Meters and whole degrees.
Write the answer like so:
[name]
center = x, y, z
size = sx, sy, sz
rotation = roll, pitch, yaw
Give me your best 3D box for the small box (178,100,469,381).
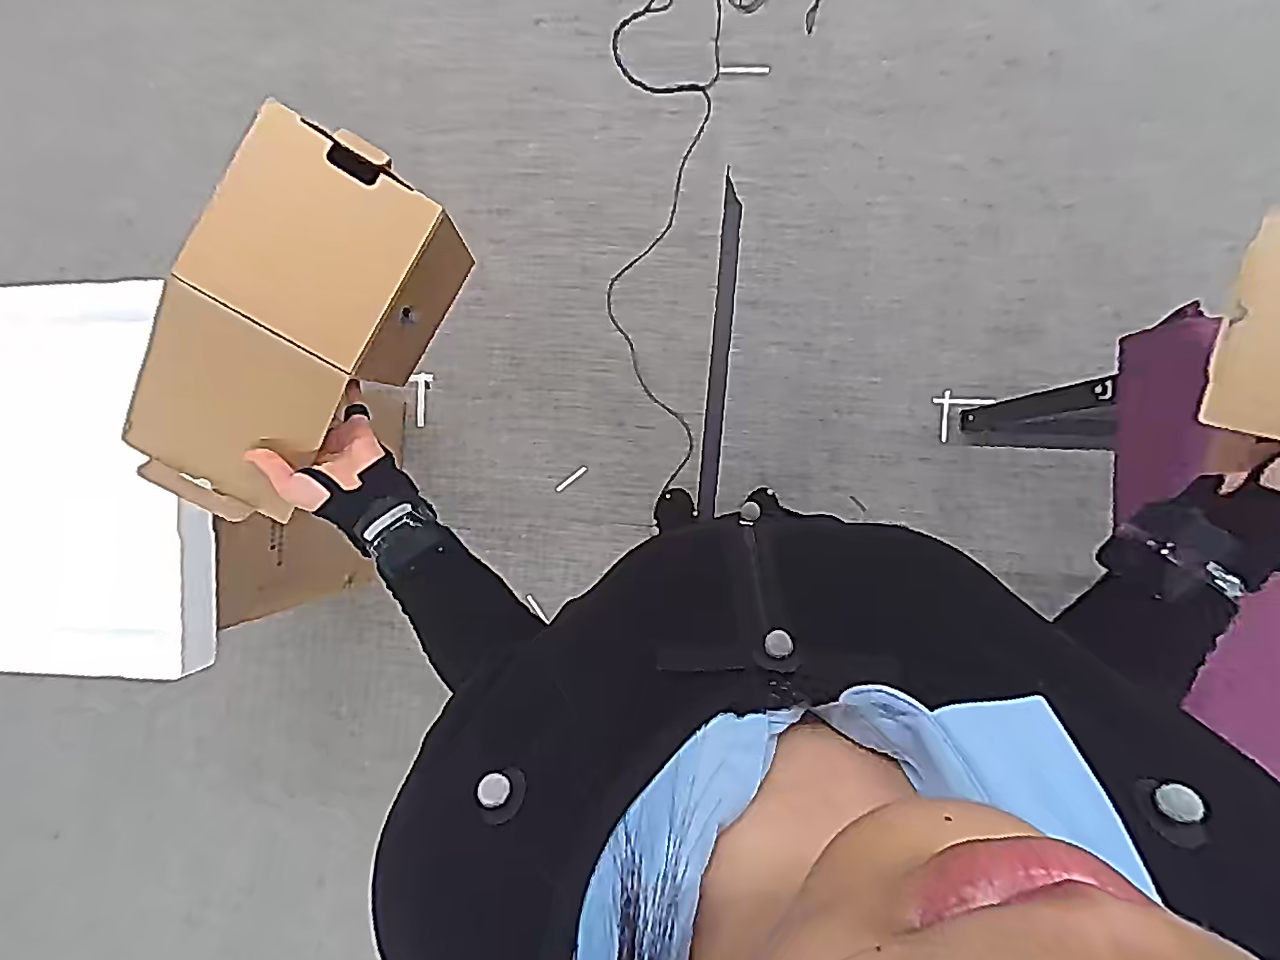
[small box]
center = -0.294, -0.217, 0.550
size = 0.168, 0.176, 0.179
rotation = 30, 91, -10
